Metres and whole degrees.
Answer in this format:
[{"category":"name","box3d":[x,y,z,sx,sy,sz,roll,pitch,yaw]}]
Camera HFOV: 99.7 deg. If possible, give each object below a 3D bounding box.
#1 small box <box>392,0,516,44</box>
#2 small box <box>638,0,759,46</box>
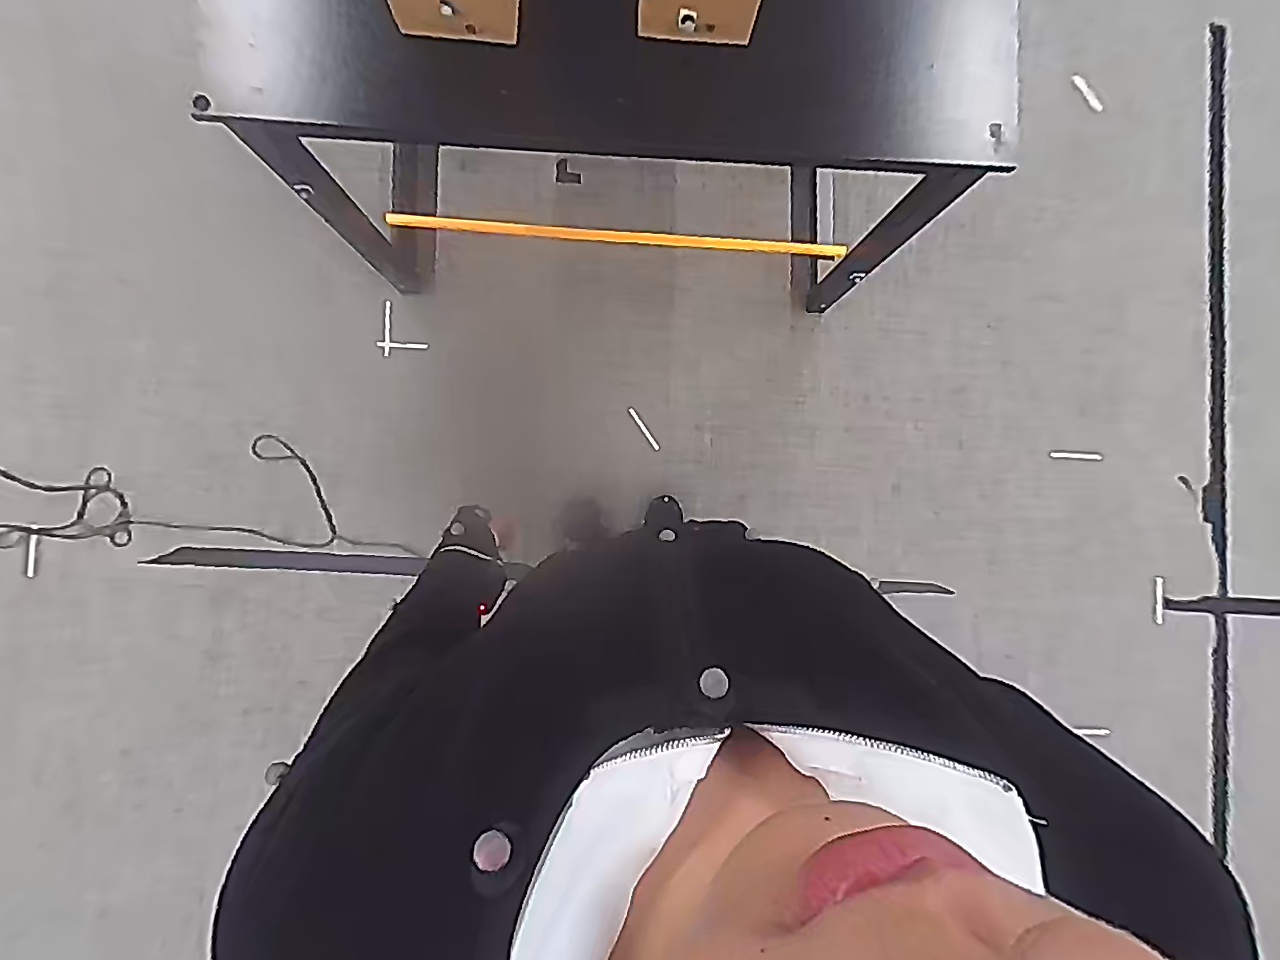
[{"category":"small box","box3d":[-0.254,-0.724,0.699,0.168,0.176,0.179,3,88,-3]},{"category":"small box","box3d":[0.083,-0.737,0.723,0.168,0.176,0.179,1,89,-2]}]
